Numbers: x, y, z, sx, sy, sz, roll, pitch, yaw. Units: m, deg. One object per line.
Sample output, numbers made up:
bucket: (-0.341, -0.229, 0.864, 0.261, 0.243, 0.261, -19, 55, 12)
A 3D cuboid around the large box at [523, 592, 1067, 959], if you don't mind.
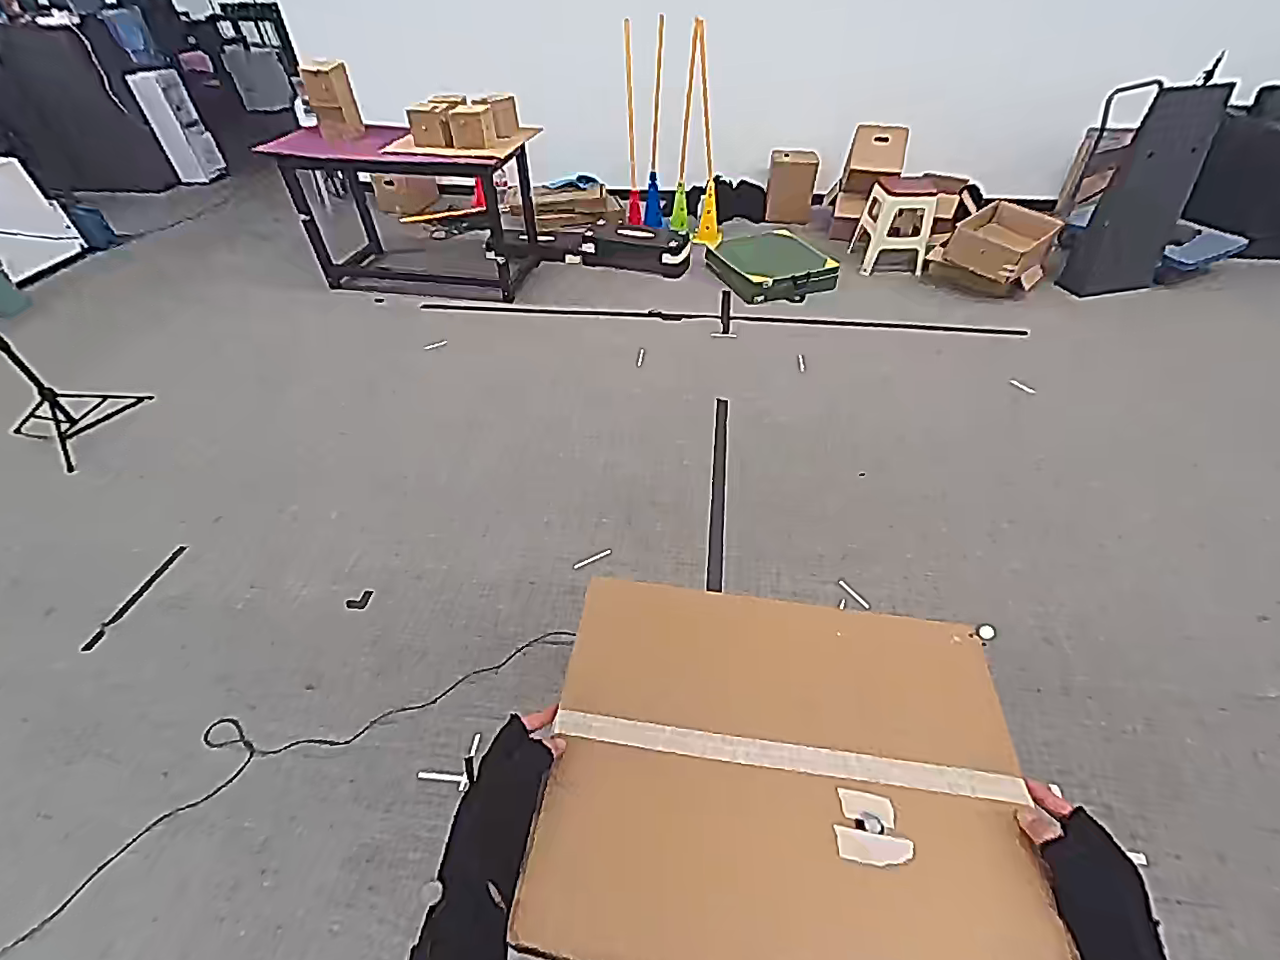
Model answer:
large box: (0.125, 0.355, 0.585, 0.408, 0.320, 0.320, 7, 48, 5)
